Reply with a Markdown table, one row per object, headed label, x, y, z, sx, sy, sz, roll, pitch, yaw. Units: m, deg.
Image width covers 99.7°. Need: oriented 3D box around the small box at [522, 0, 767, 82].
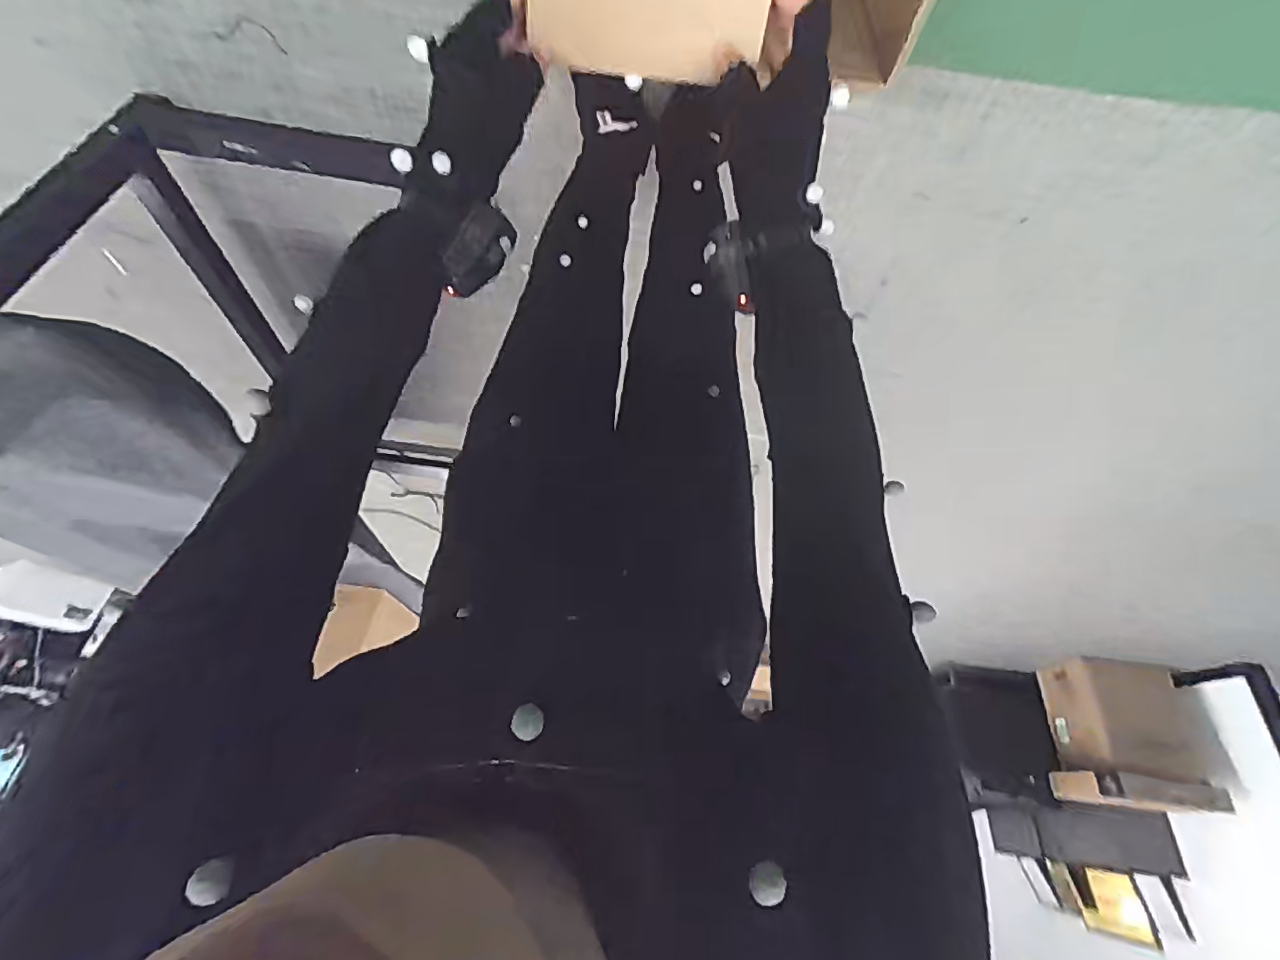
| label | x | y | z | sx | sy | sz | roll | pitch | yaw |
| --- | --- | --- | --- | --- | --- | --- | --- | --- | --- |
| small box | 0.010 | -0.428 | 0.402 | 0.179 | 0.176 | 0.168 | 6 | 140 | -1 |
